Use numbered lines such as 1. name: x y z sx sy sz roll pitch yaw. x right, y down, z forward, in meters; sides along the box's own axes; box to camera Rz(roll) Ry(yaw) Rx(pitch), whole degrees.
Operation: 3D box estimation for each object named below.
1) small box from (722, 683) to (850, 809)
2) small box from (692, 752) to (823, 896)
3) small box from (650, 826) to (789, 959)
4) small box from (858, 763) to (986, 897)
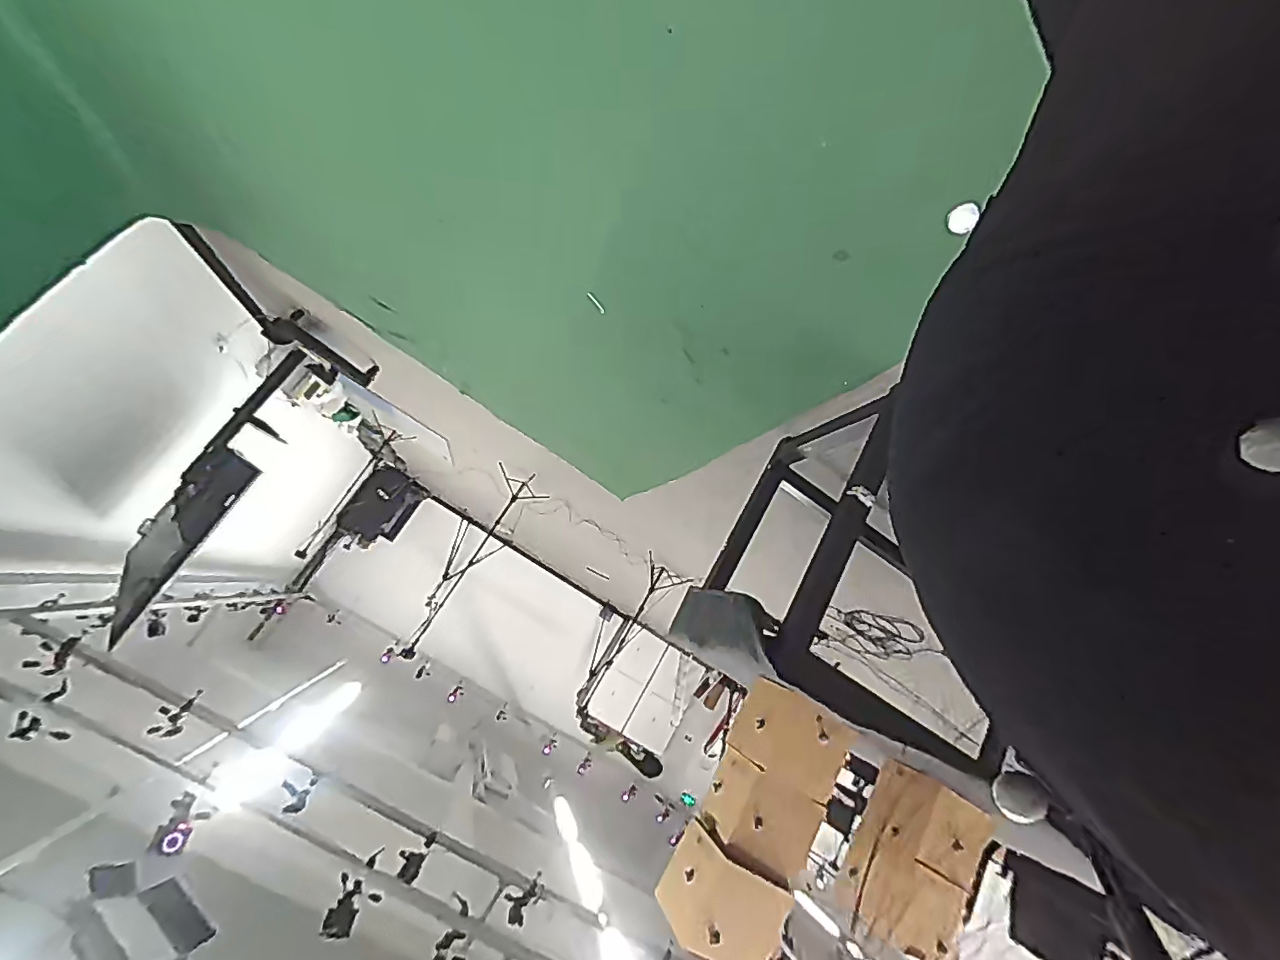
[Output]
1. small box: 0.317 0.565 1.172 0.168 0.176 0.179 35 163 -14
2. small box: 0.243 0.703 1.130 0.179 0.176 0.168 32 166 -7
3. small box: 0.155 0.828 1.064 0.179 0.176 0.168 35 166 -12
4. small box: 0.647 0.789 1.237 0.179 0.176 0.168 35 163 -11
